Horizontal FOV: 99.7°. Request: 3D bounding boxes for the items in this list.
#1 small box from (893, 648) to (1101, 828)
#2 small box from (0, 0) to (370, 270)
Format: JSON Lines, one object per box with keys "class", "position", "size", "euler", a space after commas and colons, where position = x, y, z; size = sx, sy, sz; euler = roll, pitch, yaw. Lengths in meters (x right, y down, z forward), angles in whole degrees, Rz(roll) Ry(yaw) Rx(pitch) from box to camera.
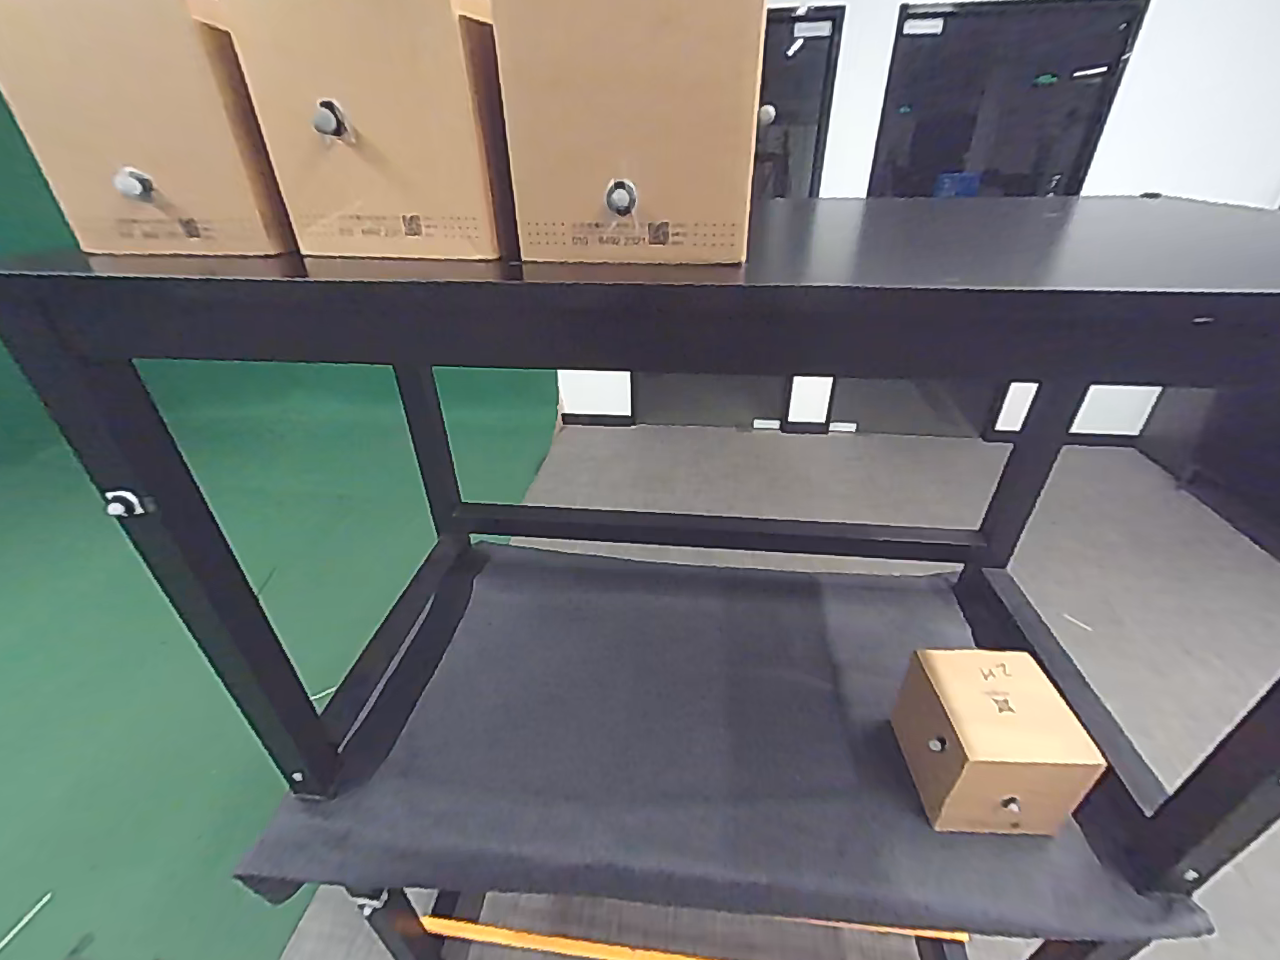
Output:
{"class": "small box", "position": [0.488, 0.367, 0.773], "size": [0.168, 0.176, 0.179], "euler": [1, 31, 2]}
{"class": "small box", "position": [-0.362, -0.290, 0.470], "size": [0.168, 0.176, 0.179], "euler": [2, 33, 4]}
